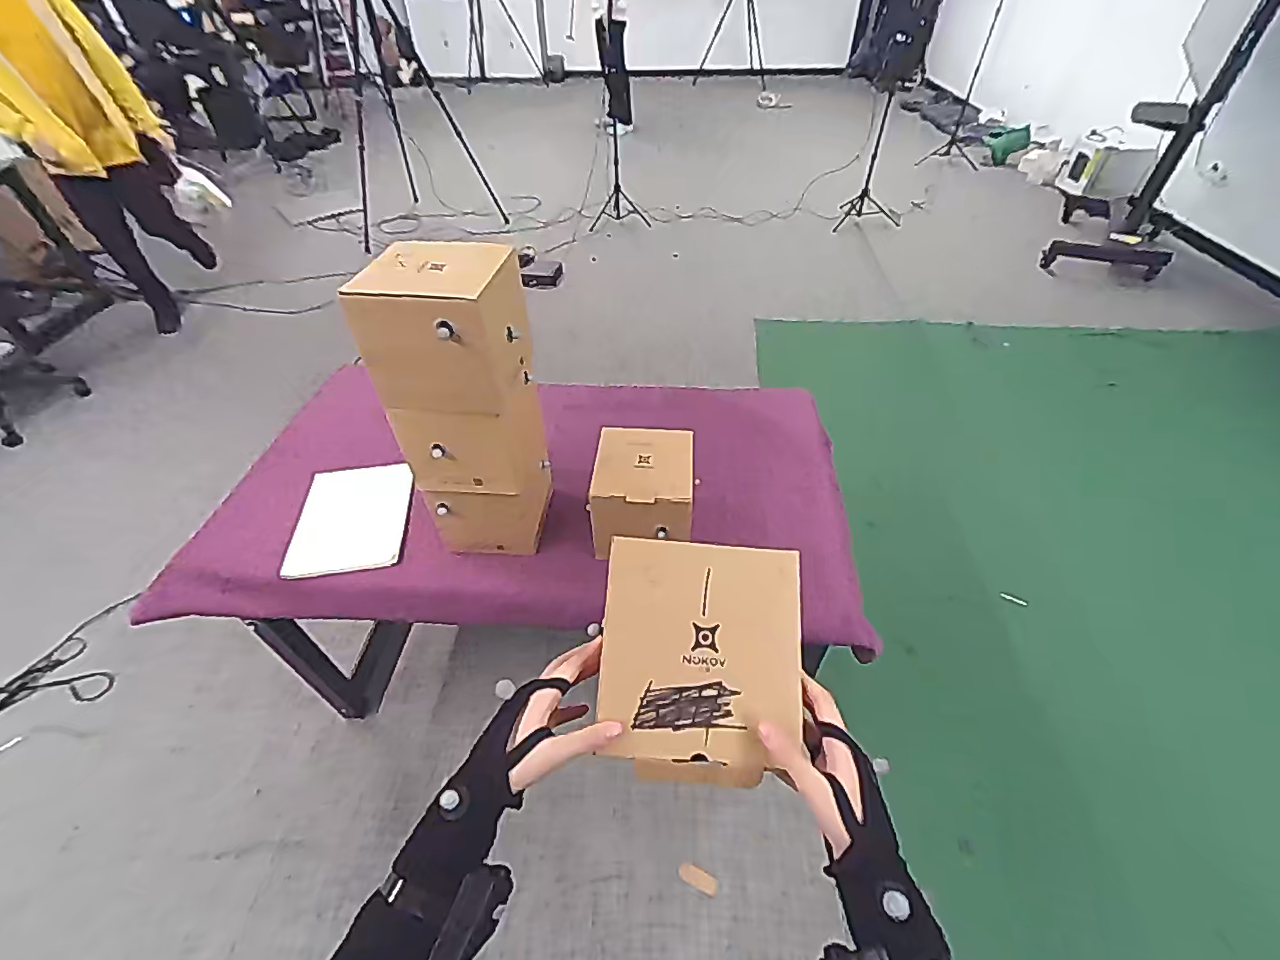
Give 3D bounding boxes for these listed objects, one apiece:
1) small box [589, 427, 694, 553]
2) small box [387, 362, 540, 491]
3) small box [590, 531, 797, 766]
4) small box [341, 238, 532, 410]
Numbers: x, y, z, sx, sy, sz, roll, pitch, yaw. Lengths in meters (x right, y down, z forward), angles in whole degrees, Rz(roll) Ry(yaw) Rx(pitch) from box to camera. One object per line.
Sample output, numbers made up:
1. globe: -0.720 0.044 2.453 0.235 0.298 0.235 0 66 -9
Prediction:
1. small box: 0.007 0.027 0.965 0.168 0.176 0.179 4 44 3
2. small box: -0.264 -0.099 0.861 0.168 0.176 0.179 3 44 4
3. small box: 0.045 0.158 0.526 0.168 0.176 0.179 6 72 -3
4. small box: -0.258 -0.212 0.741 0.179 0.176 0.168 5 44 6
